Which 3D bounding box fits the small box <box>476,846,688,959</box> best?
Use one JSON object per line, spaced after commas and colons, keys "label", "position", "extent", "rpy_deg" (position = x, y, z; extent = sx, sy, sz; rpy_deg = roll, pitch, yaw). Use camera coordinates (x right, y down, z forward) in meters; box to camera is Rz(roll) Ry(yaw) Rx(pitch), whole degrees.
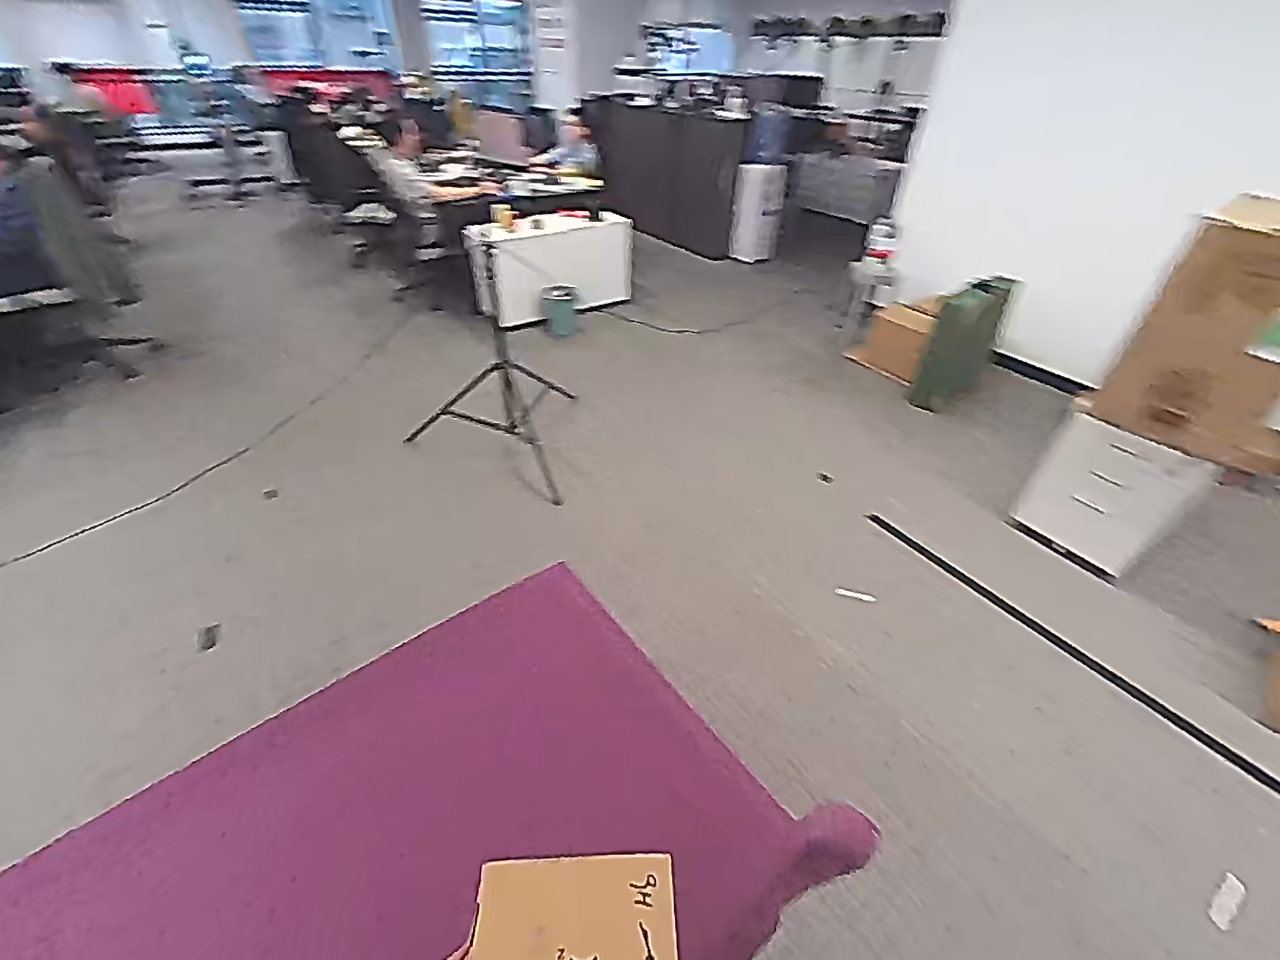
{"label": "small box", "position": [-0.045, 0.454, 0.484], "extent": [0.179, 0.176, 0.168], "rpy_deg": [-1, 37, 1]}
